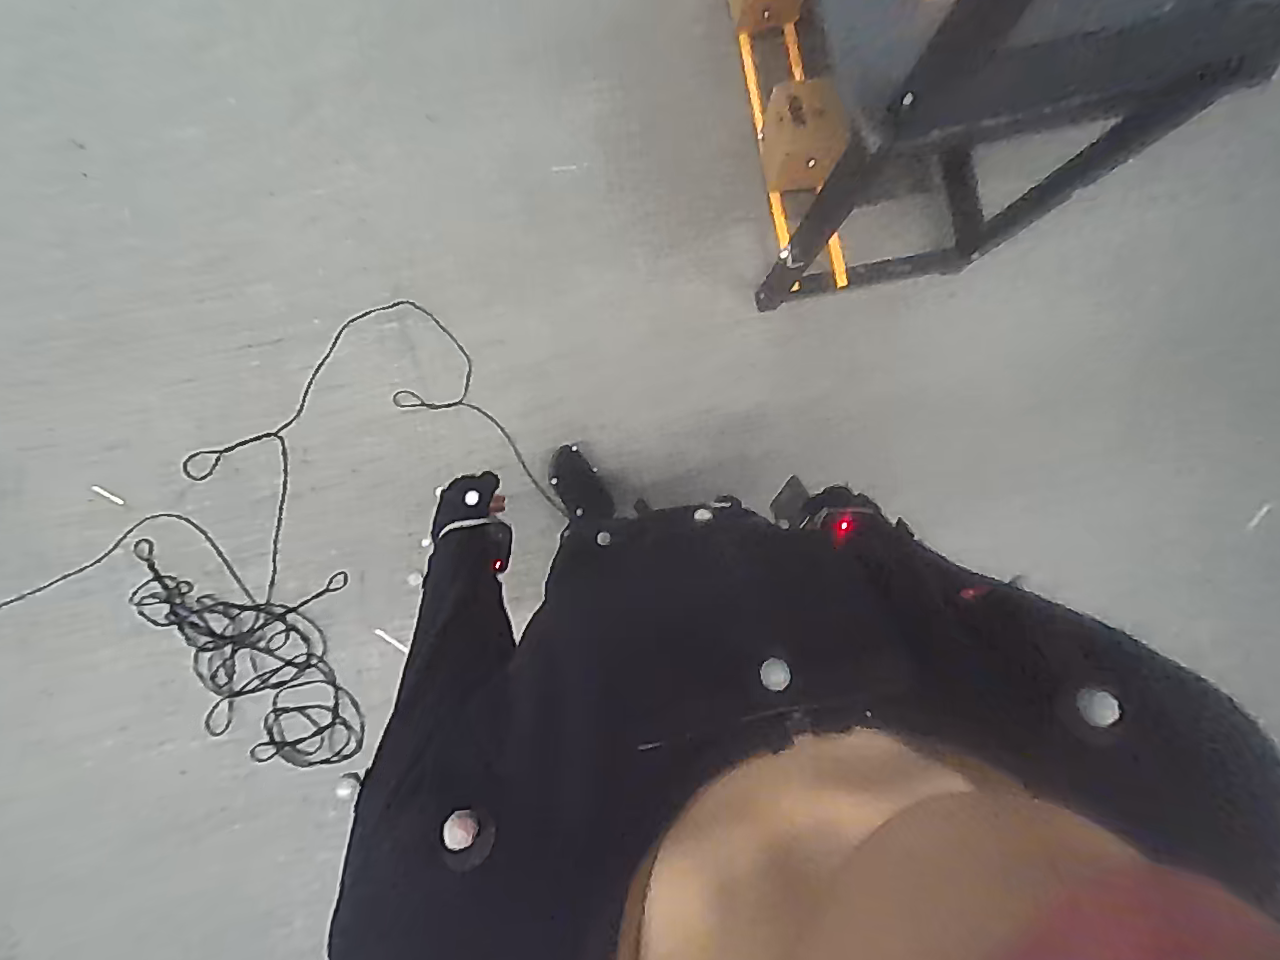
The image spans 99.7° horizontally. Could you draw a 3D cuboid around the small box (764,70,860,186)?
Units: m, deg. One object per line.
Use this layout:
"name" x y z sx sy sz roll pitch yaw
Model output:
"small box" 0.405 -0.840 1.308 0.179 0.176 0.168 -8 89 0
